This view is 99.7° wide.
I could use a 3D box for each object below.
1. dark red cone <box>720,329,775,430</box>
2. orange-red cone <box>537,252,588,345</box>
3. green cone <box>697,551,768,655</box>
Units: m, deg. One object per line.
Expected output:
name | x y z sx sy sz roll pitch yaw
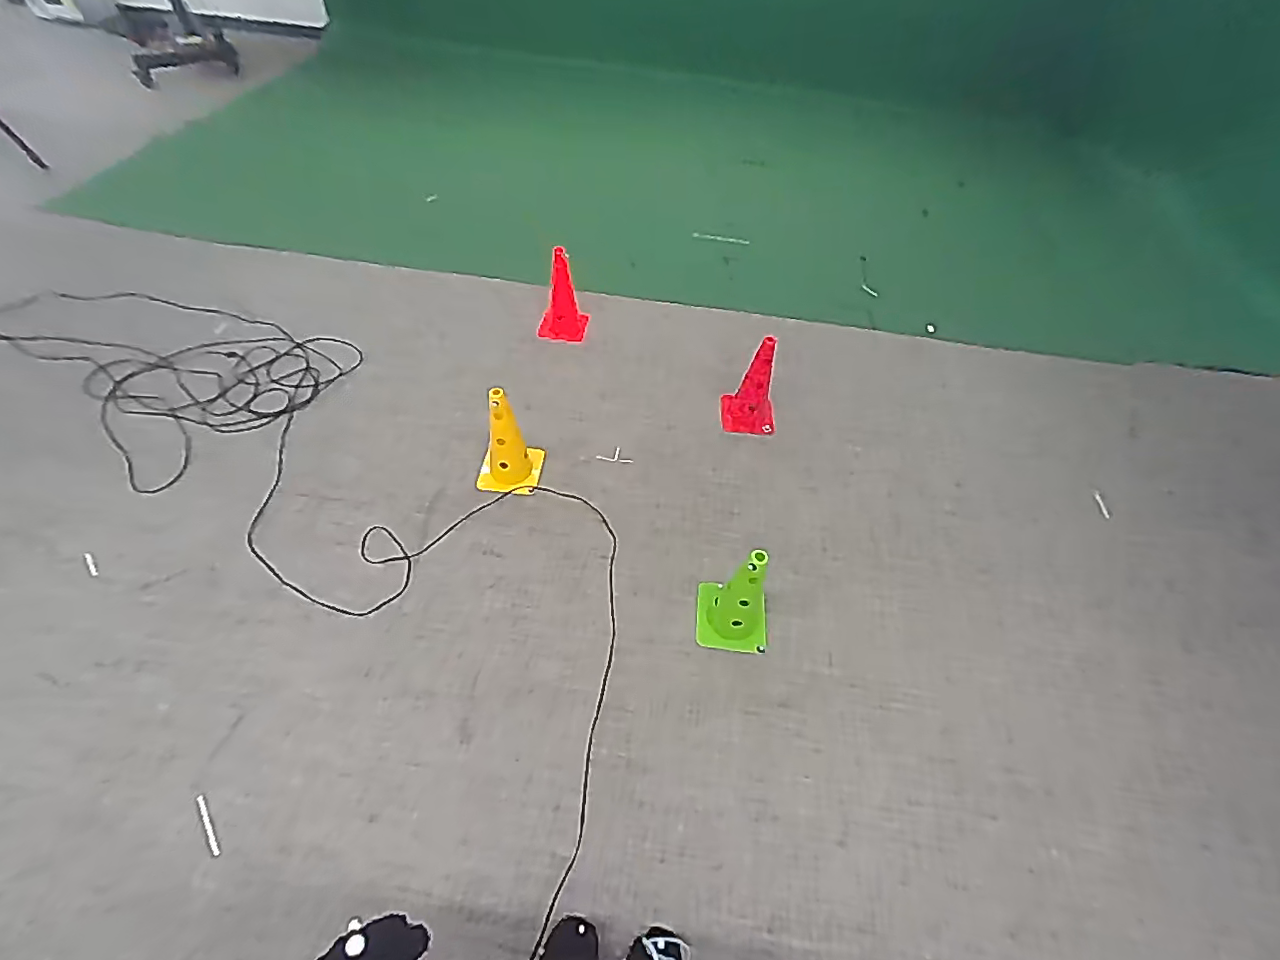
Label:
dark red cone | 0.420 -0.367 1.945 0.202 0.394 0.201 4 50 -1
orange-red cone | -0.328 -0.763 2.231 0.198 0.360 0.199 8 52 3
green cone | 0.275 0.295 1.437 0.202 0.368 0.200 6 51 2
